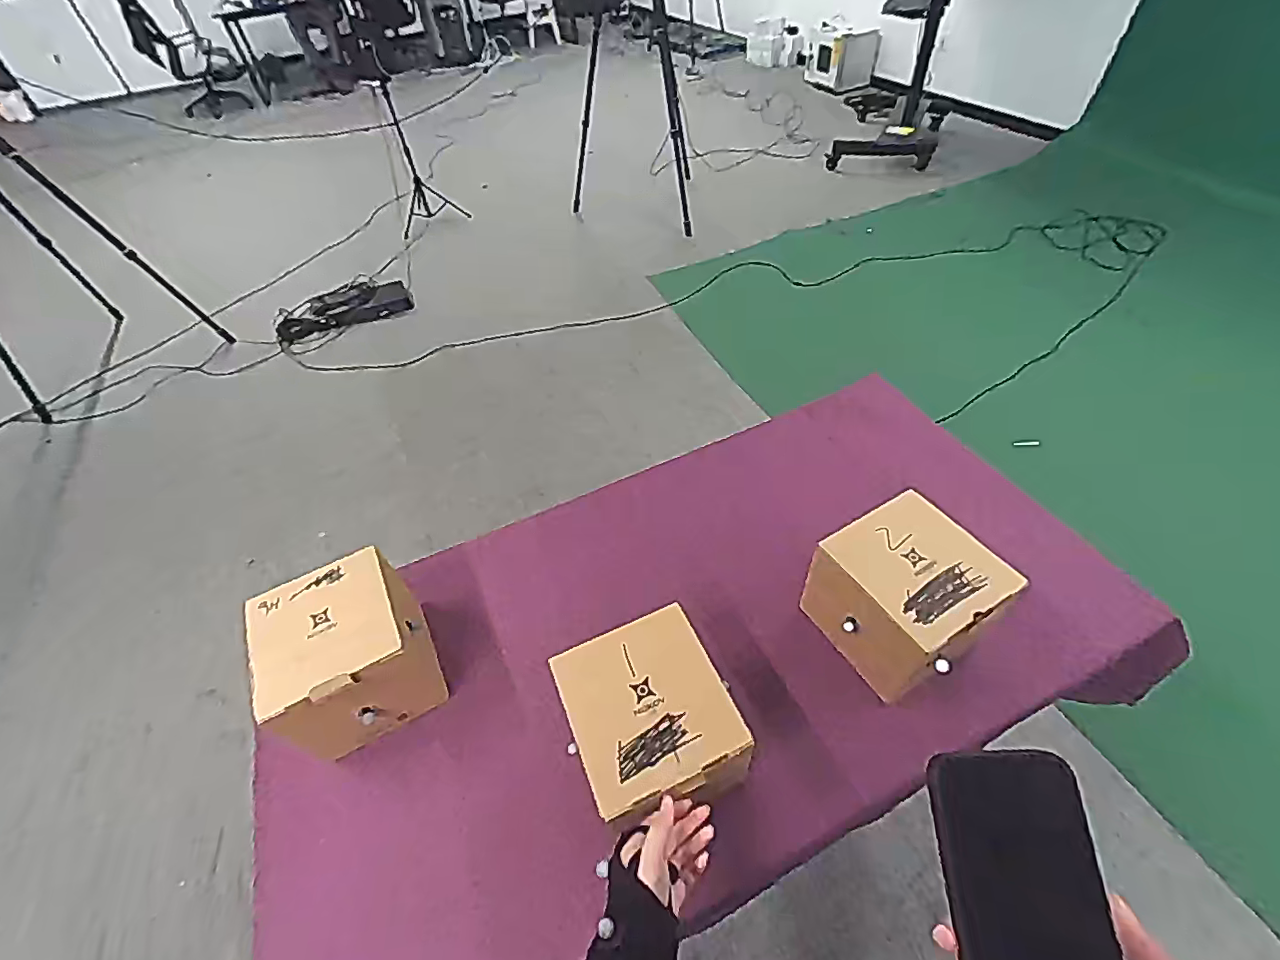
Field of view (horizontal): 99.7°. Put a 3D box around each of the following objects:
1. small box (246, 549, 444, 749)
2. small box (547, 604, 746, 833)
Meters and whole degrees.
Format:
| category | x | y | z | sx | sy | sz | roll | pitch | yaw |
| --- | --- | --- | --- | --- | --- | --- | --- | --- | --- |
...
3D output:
| category | x | y | z | sx | sy | sz | roll | pitch | yaw |
| --- | --- | --- | --- | --- | --- | --- | --- | --- | --- |
| small box | -0.383 | 0.231 | 0.720 | 0.168 | 0.176 | 0.179 | -25 | 53 | -16 |
| small box | 0.009 | 0.284 | 0.635 | 0.168 | 0.176 | 0.179 | -21 | 50 | -12 |
